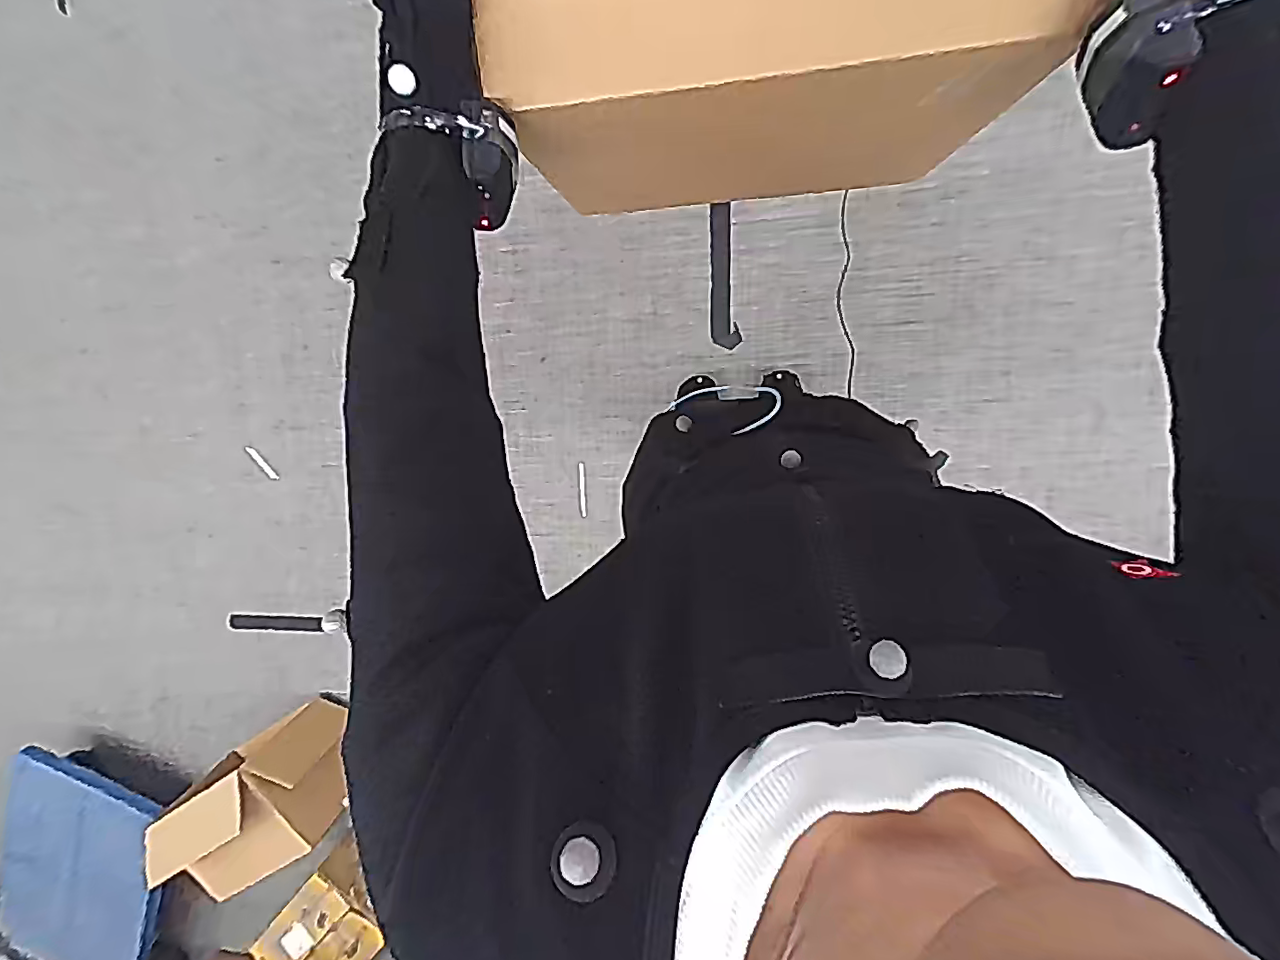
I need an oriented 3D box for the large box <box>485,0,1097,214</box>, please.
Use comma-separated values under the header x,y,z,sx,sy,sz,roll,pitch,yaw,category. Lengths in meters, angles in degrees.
x,y,z,sx,sy,sz,roll,pitch,yaw,category
0.094,-0.459,0.478,0.408,0.320,0.320,-3,103,7,large box
